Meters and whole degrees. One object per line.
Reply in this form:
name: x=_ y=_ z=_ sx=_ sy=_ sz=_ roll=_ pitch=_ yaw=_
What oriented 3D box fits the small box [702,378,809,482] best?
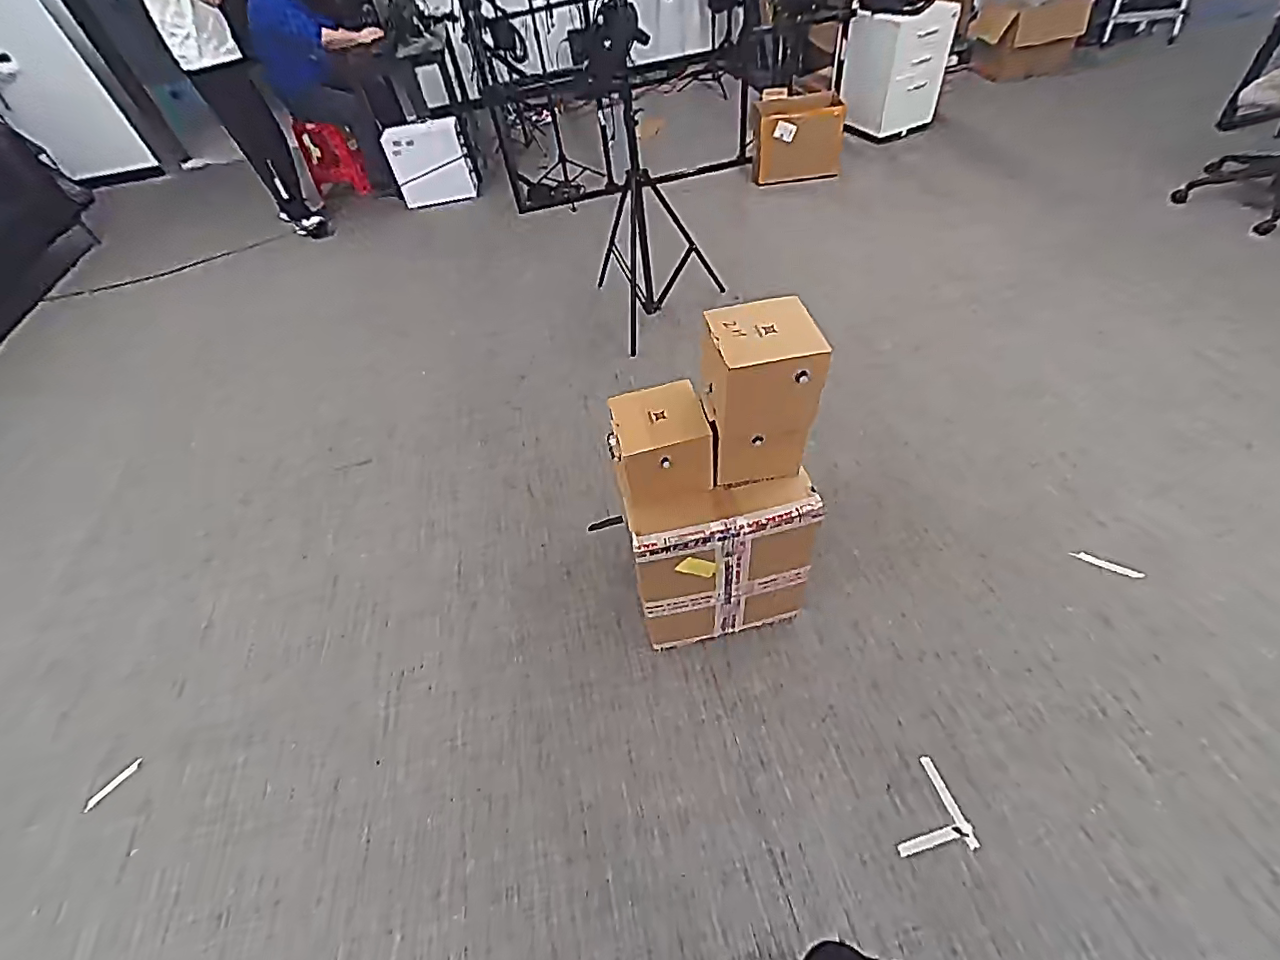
small box: x=0.227 y=-0.112 z=1.109 sx=0.179 sy=0.176 sz=0.168 roll=-8 pitch=51 yaw=-1

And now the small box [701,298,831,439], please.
small box: x=0.212 y=-0.196 z=0.965 sx=0.179 sy=0.176 sz=0.168 roll=-11 pitch=50 yaw=-3
